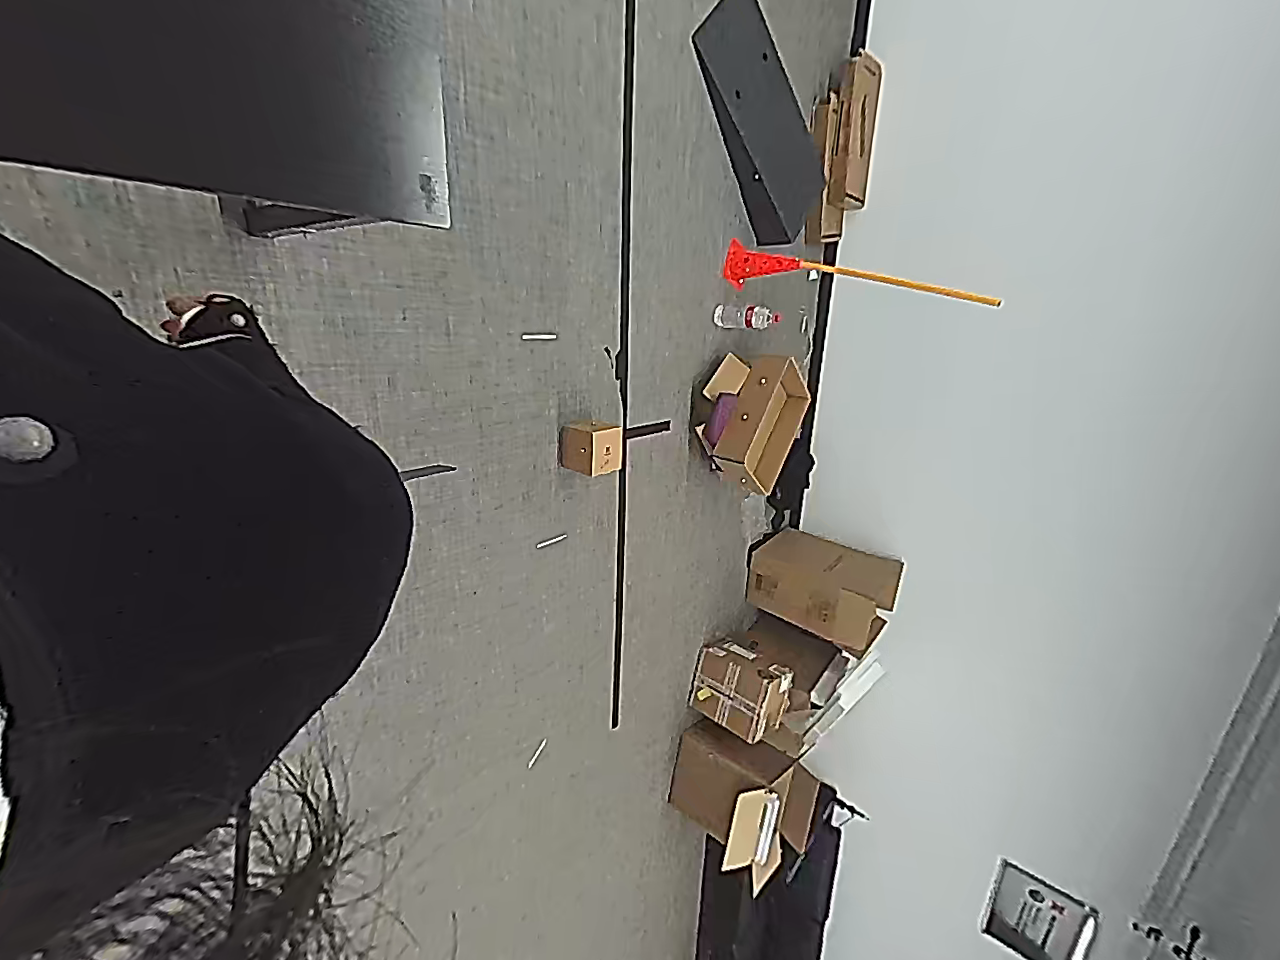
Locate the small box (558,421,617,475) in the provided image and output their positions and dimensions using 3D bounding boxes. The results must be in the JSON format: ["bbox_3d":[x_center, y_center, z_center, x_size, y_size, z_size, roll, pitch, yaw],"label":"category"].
[{"bbox_3d":[-0.207,-0.132,2.105,0.168,0.176,0.179,-17,117,-47],"label":"small box"}]
